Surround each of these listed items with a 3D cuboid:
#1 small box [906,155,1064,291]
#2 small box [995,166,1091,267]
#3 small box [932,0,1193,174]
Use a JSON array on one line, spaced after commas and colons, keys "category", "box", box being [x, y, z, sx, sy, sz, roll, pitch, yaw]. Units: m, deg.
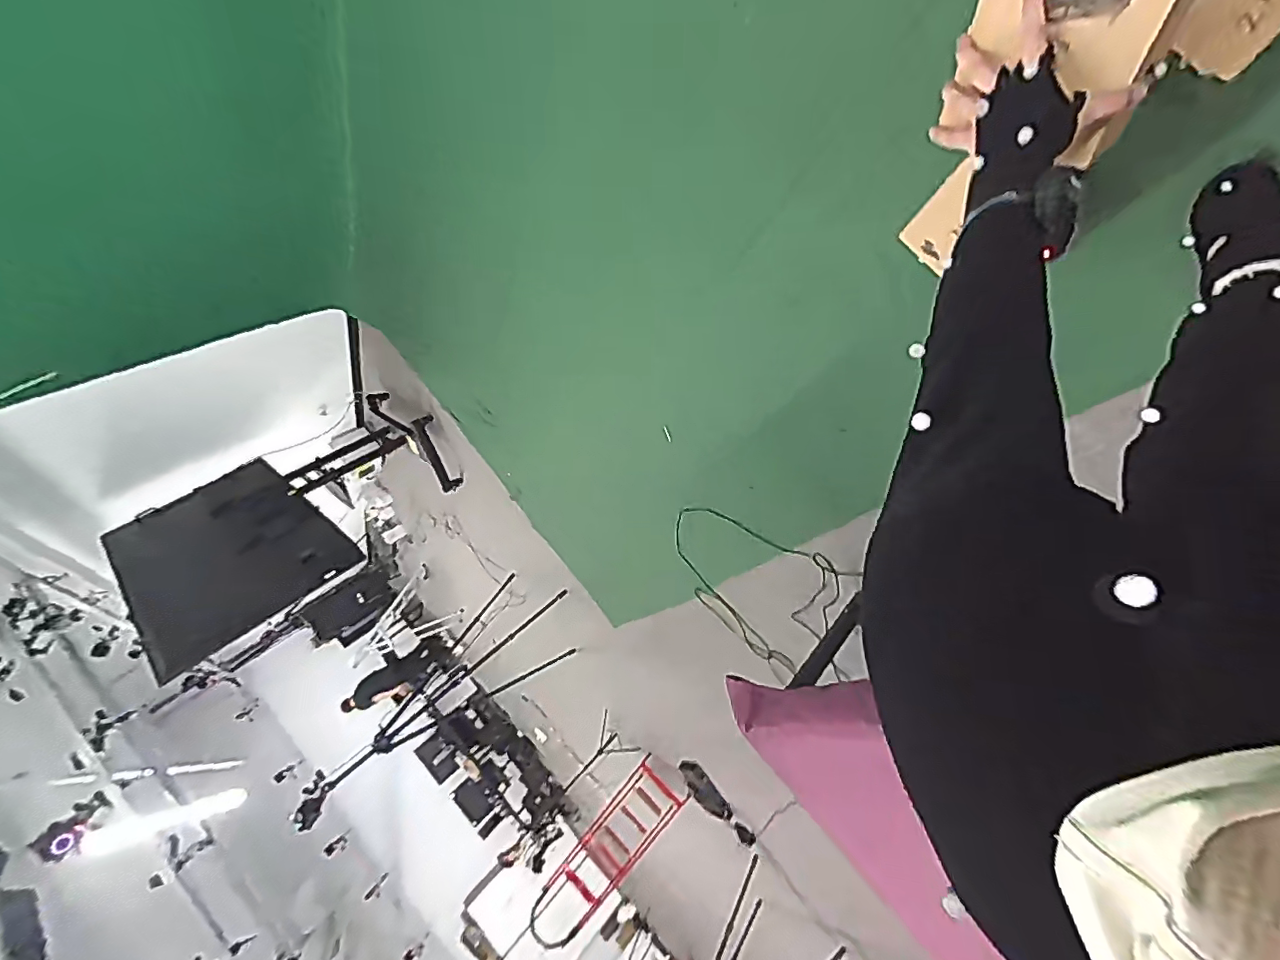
[{"category": "small box", "box": [0.651, -0.497, 1.016, 0.168, 0.176, 0.179, 50, 146, 8]}, {"category": "small box", "box": [0.765, -0.578, 1.102, 0.179, 0.176, 0.168, 51, 147, 7]}, {"category": "small box", "box": [0.466, -0.468, 0.597, 0.168, 0.176, 0.179, 34, 144, 29]}]
